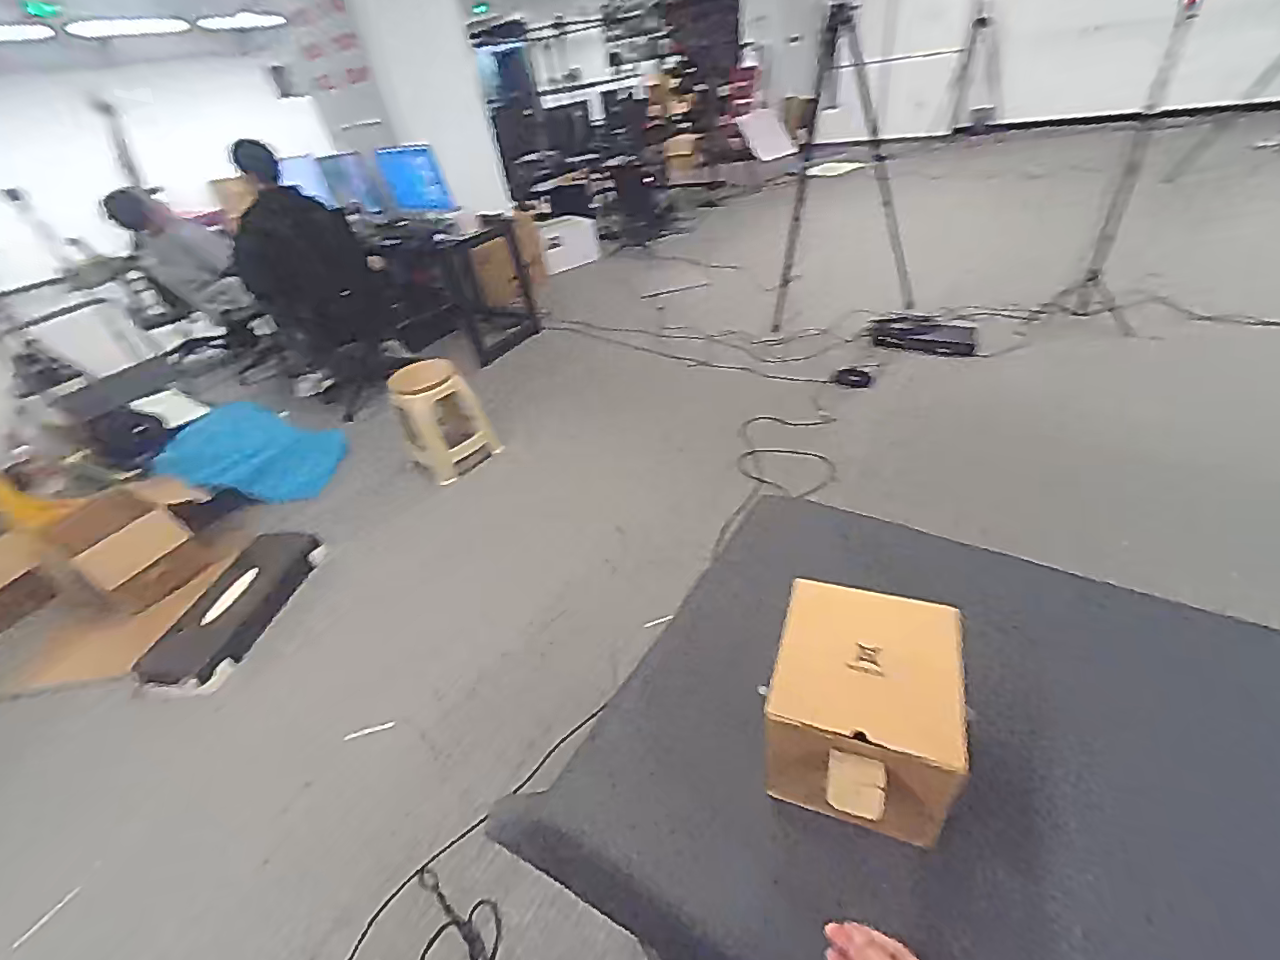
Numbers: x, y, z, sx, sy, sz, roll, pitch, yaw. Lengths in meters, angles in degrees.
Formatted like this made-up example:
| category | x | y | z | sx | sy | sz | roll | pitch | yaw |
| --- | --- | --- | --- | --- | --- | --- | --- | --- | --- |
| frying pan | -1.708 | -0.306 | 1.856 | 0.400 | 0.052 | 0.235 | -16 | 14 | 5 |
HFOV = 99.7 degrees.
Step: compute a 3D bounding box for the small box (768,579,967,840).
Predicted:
| category | x | y | z | sx | sy | sz | roll | pitch | yaw |
| --- | --- | --- | --- | --- | --- | --- | --- | --- | --- |
| small box | 0.234 | 0.239 | 0.581 | 0.168 | 0.176 | 0.179 | 8 | 41 | 21 |
